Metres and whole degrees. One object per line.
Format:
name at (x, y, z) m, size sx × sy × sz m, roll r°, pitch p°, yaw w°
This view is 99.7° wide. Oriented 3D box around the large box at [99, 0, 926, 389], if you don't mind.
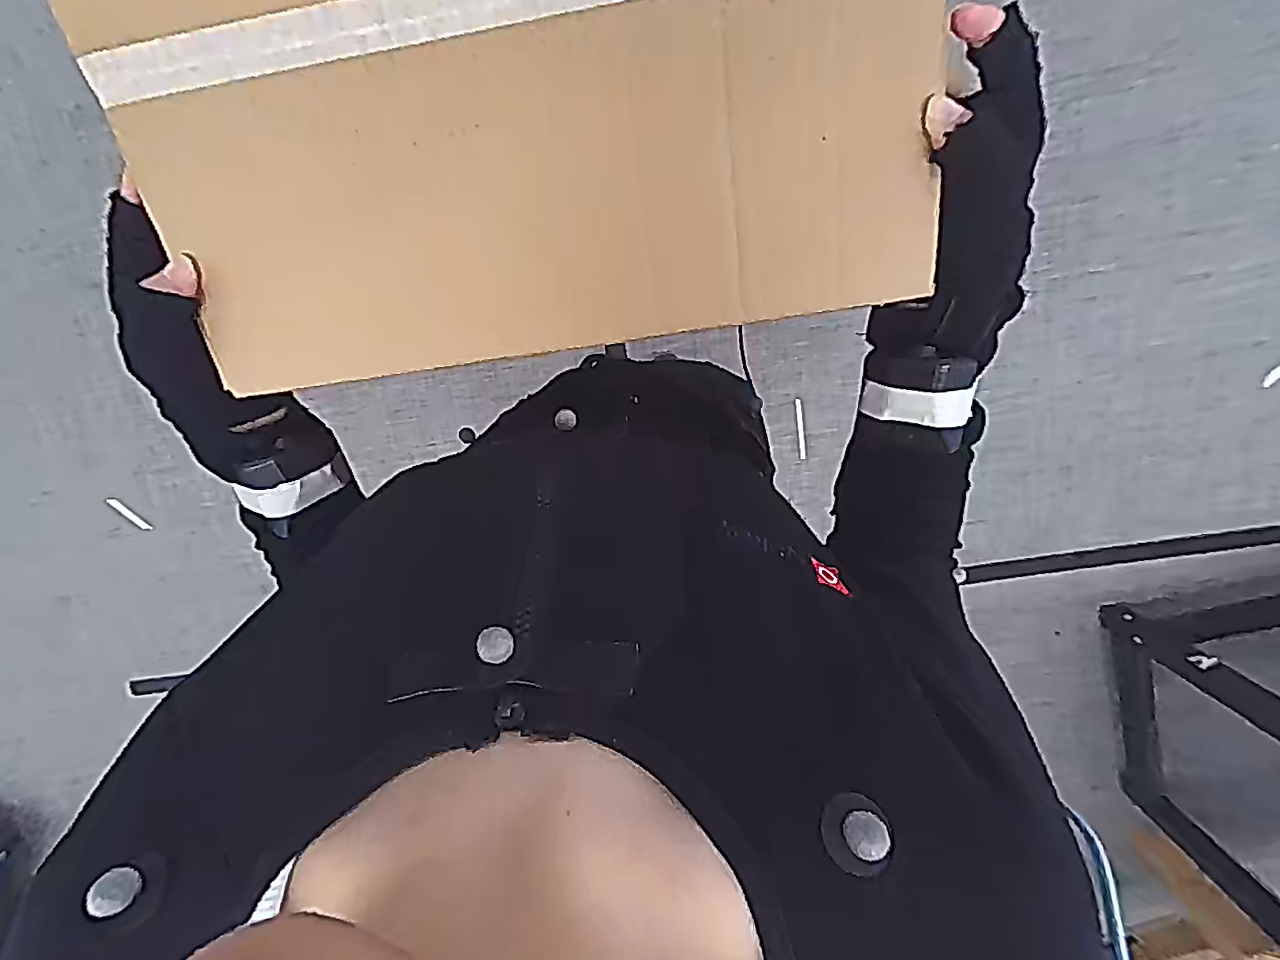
large box at (-0.061, -0.277, 0.400) m, size 0.408 × 0.320 × 0.320 m, roll -7°, pitch 112°, yaw 5°
